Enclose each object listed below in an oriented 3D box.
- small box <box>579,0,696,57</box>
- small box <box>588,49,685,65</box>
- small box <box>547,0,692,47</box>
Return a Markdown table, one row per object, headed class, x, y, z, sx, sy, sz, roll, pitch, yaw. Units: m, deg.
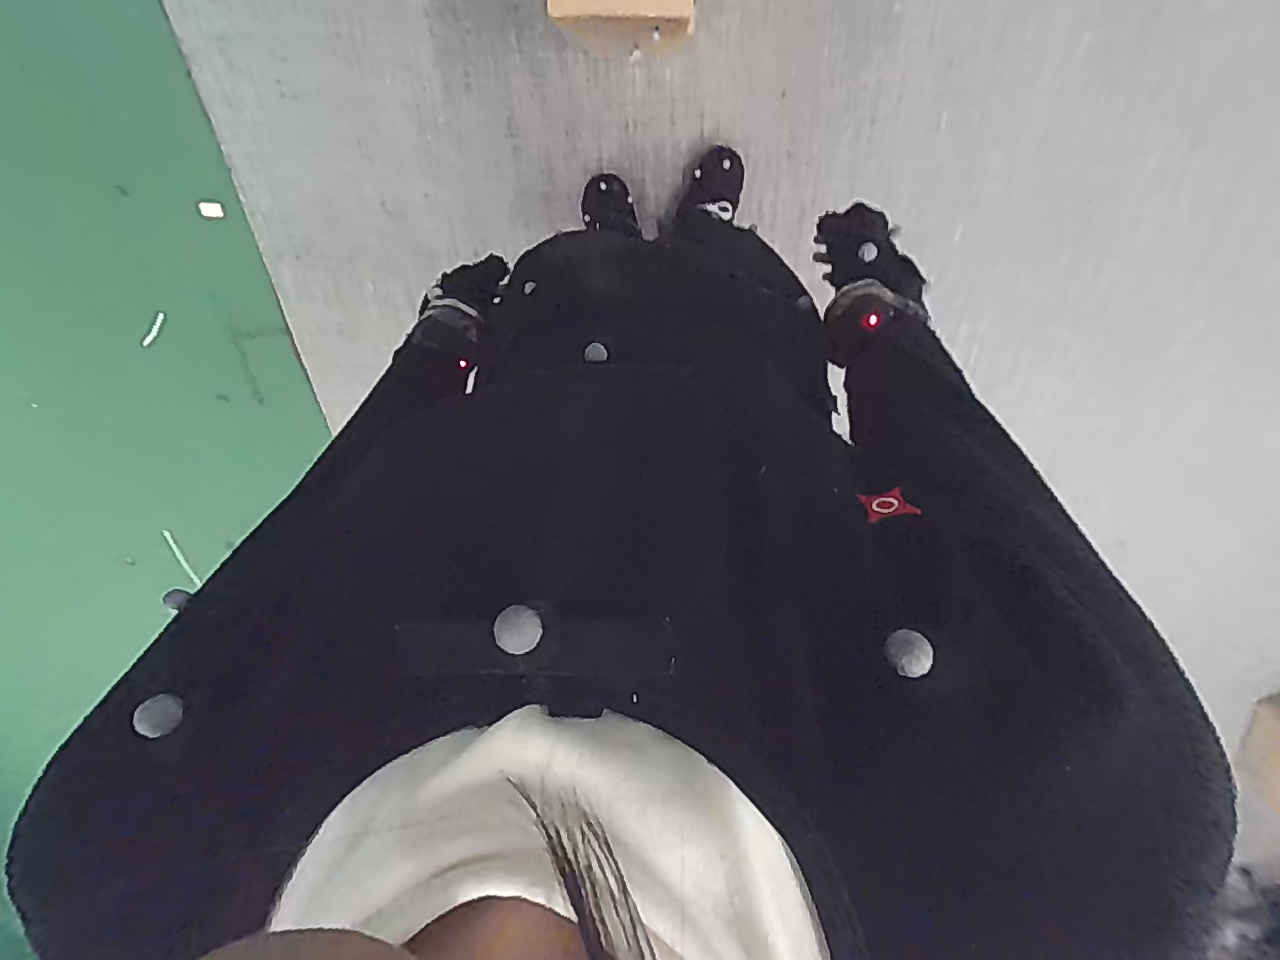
| class | x | y | z | sx | sy | sz | roll | pitch | yaw |
| --- | --- | --- | --- | --- | --- | --- | --- | --- | --- |
| small box | -0.008 | -0.754 | 0.816 | 0.179 | 0.176 | 0.168 | 0 | 123 | 0 |
| small box | -0.007 | -0.845 | 0.948 | 0.179 | 0.176 | 0.168 | 2 | 121 | 0 |
| small box | -0.024 | -0.663 | 0.681 | 0.179 | 0.176 | 0.168 | 0 | 122 | 3 |
